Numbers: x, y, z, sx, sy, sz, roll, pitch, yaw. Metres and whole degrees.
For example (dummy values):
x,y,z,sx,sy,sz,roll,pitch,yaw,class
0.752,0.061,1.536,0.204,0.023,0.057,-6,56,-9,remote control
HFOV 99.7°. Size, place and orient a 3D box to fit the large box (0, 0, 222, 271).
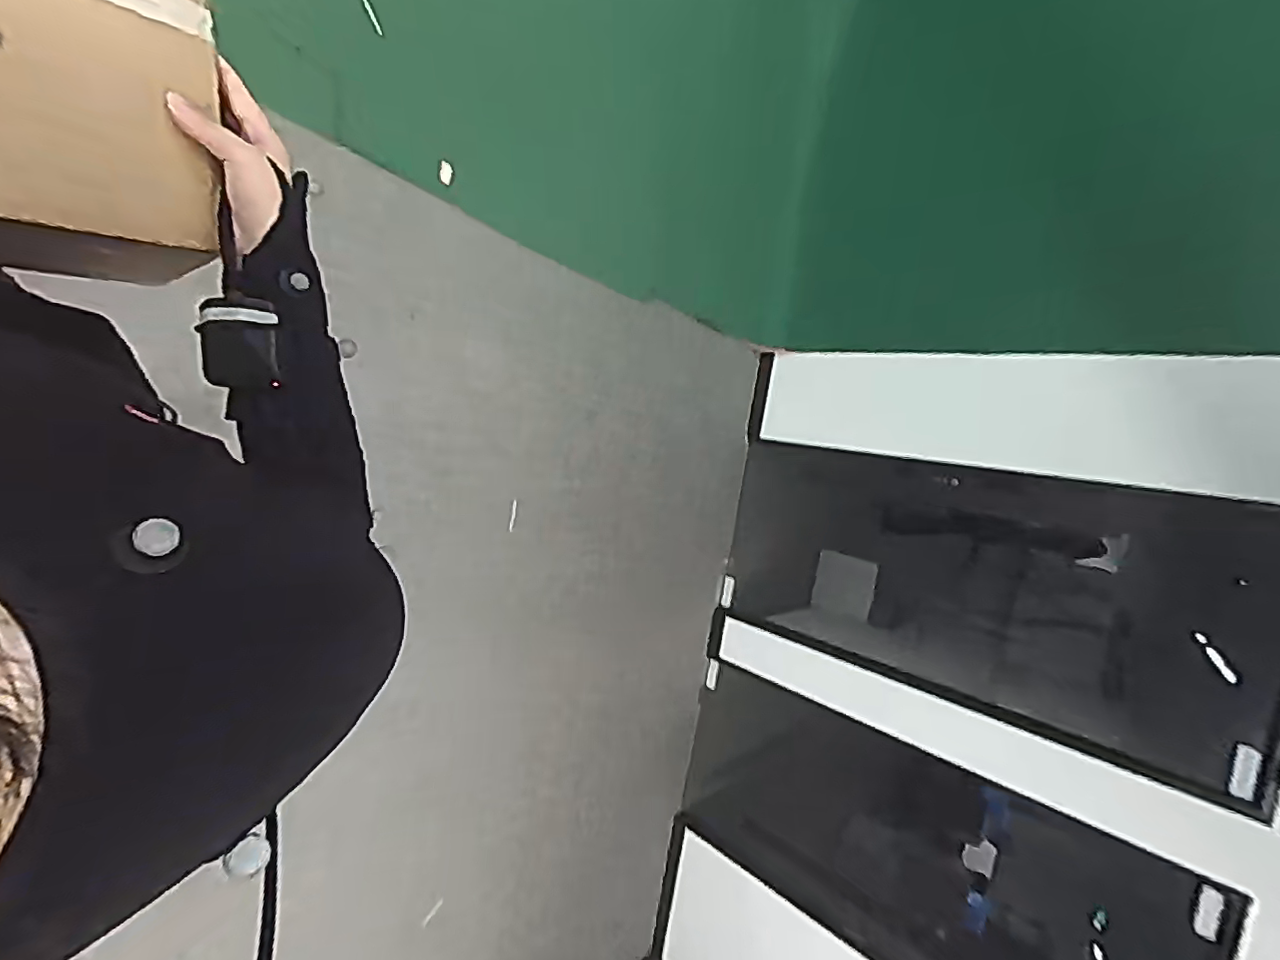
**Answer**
x,y,z,sx,sy,sz,roll,pitch,yaw,class
-0.567,-0.337,0.343,0.408,0.320,0.320,-10,107,-49,large box
